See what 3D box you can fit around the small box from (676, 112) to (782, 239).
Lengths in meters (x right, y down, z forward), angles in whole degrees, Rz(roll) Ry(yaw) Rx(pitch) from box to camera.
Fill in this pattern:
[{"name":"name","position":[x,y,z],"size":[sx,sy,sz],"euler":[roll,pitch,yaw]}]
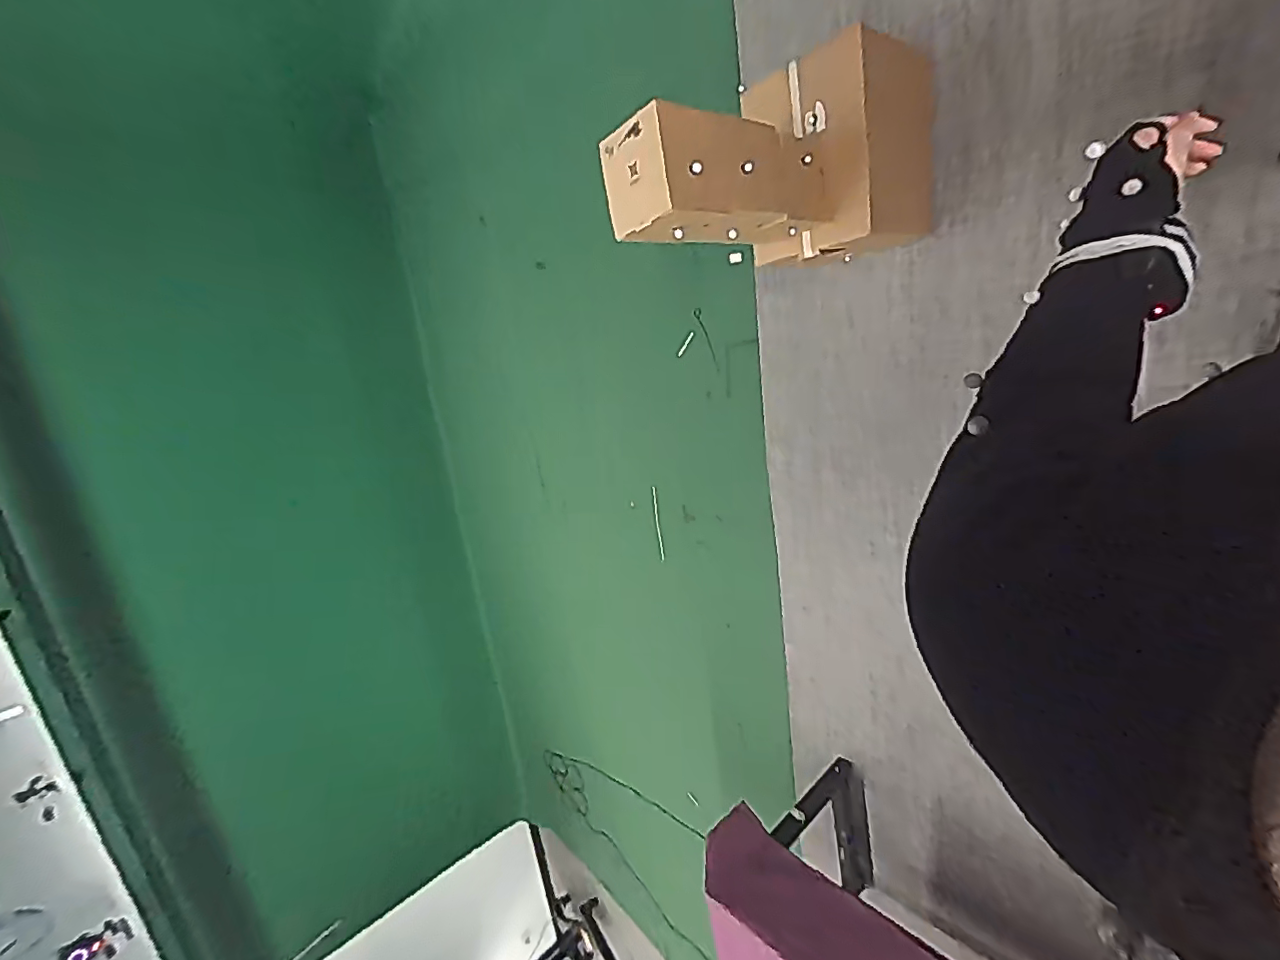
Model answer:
[{"name":"small box","position":[0.173,-0.611,1.108],"size":[0.168,0.176,0.179],"euler":[0,104,50]}]

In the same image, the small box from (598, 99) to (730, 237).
[{"name":"small box","position":[0.050,-0.567,1.007],"size":[0.168,0.176,0.179],"euler":[3,108,50]}]

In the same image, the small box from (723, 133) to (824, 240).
[{"name":"small box","position":[0.296,-0.646,1.210],"size":[0.179,0.176,0.168],"euler":[7,109,51]}]

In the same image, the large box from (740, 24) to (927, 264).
[{"name":"large box","position":[0.480,-0.775,1.329],"size":[0.320,0.320,0.408],"euler":[8,110,49]}]
